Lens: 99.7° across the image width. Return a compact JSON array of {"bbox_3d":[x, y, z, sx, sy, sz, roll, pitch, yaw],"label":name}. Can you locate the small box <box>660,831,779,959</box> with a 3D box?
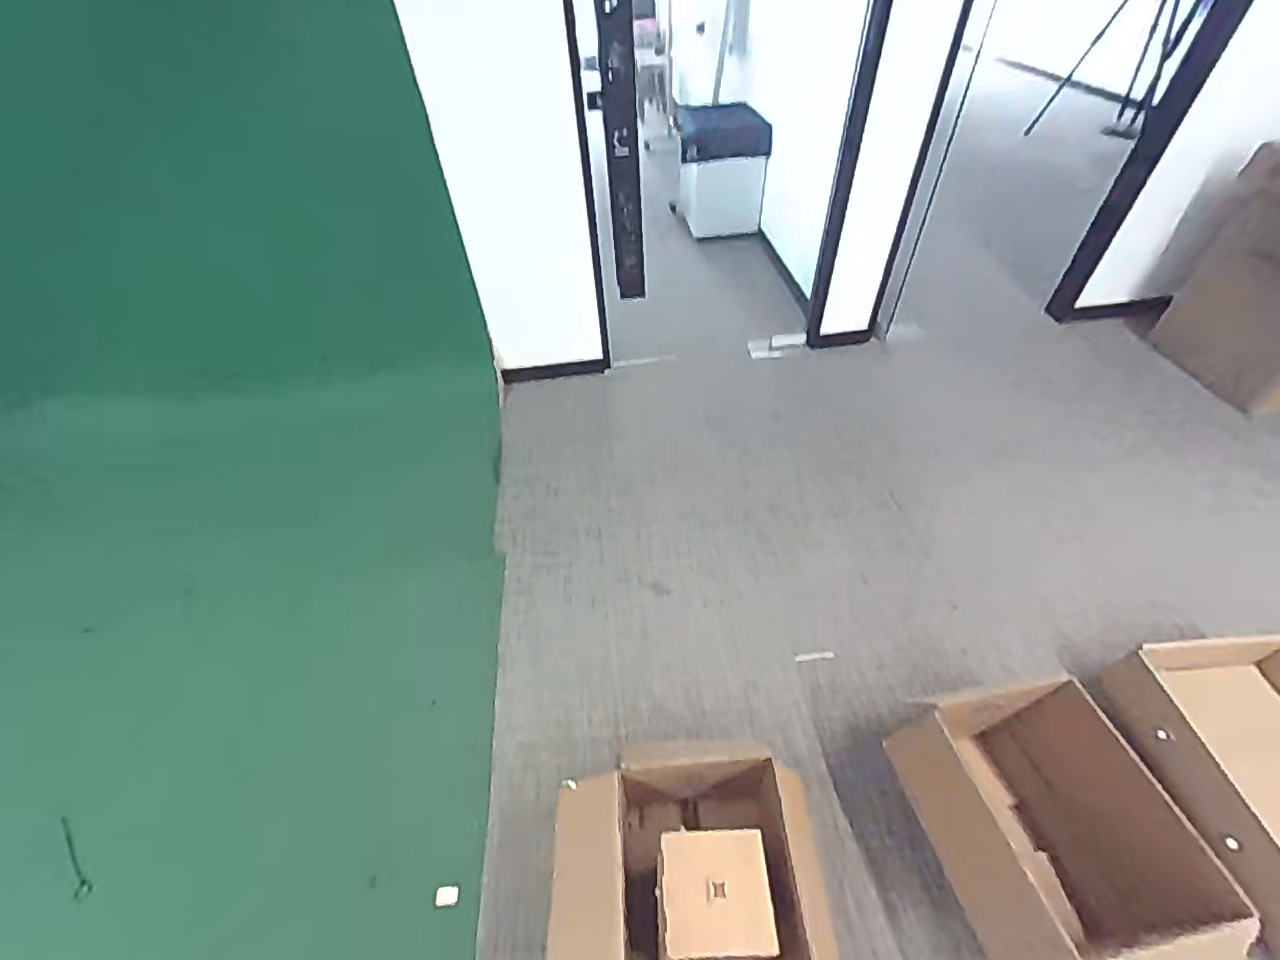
[{"bbox_3d":[0.127,0.725,0.942,0.179,0.176,0.168,-3,46,0],"label":"small box"}]
